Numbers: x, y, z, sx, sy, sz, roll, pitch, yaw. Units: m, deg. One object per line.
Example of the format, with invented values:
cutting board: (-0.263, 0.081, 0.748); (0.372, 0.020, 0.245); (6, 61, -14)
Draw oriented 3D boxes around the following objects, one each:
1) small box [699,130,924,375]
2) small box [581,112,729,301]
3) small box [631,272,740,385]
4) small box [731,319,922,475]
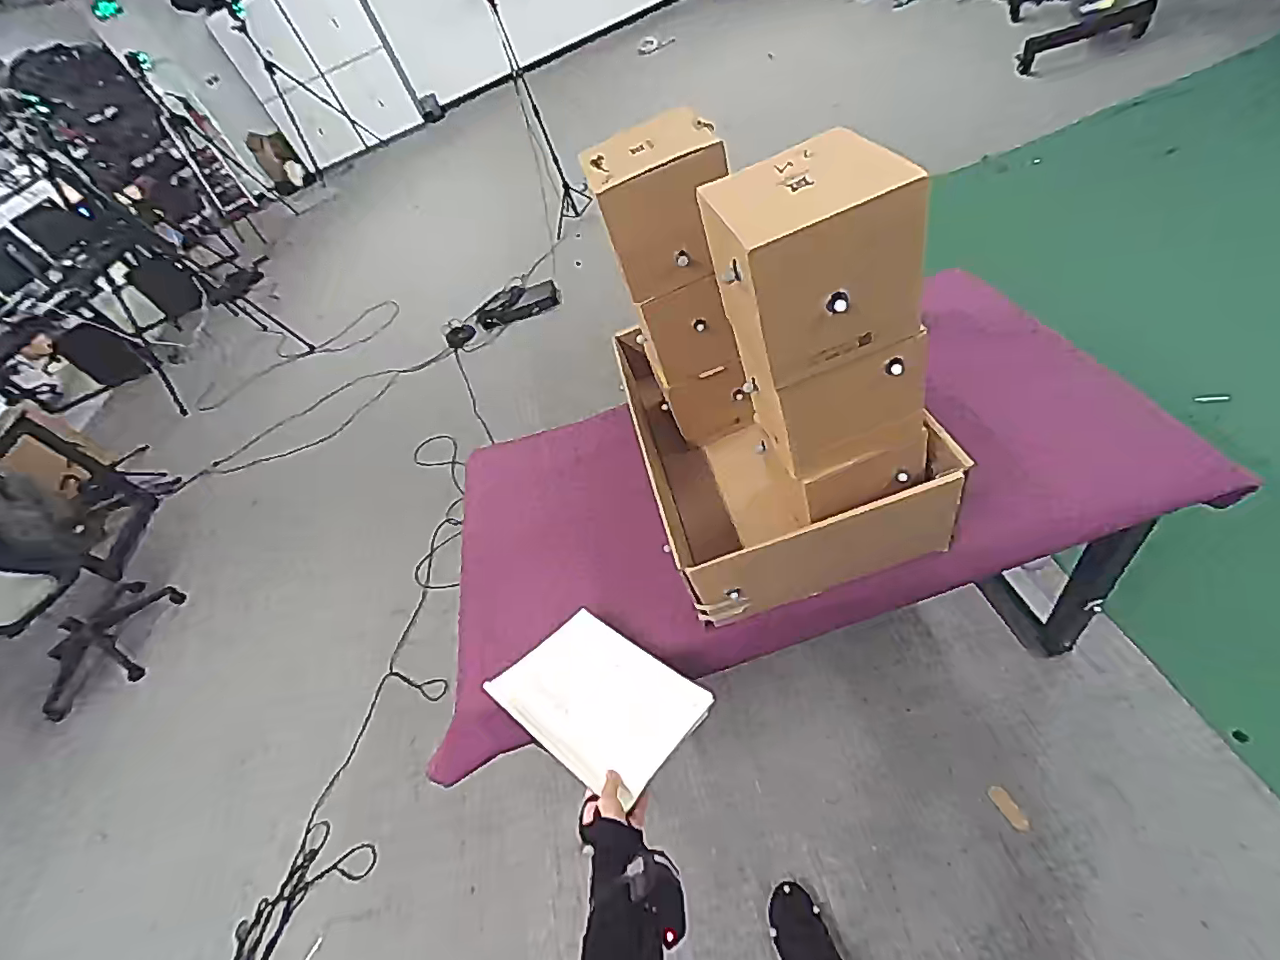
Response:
small box: (0.180, -0.235, 0.583); (0.168, 0.176, 0.179); (-20, 44, 5)
small box: (0.031, -0.395, 0.791); (0.179, 0.176, 0.168); (-20, 47, 4)
small box: (0.082, -0.293, 0.908); (0.179, 0.176, 0.168); (-22, 47, 3)
small box: (0.237, -0.133, 0.699); (0.179, 0.176, 0.168); (-20, 45, 5)
